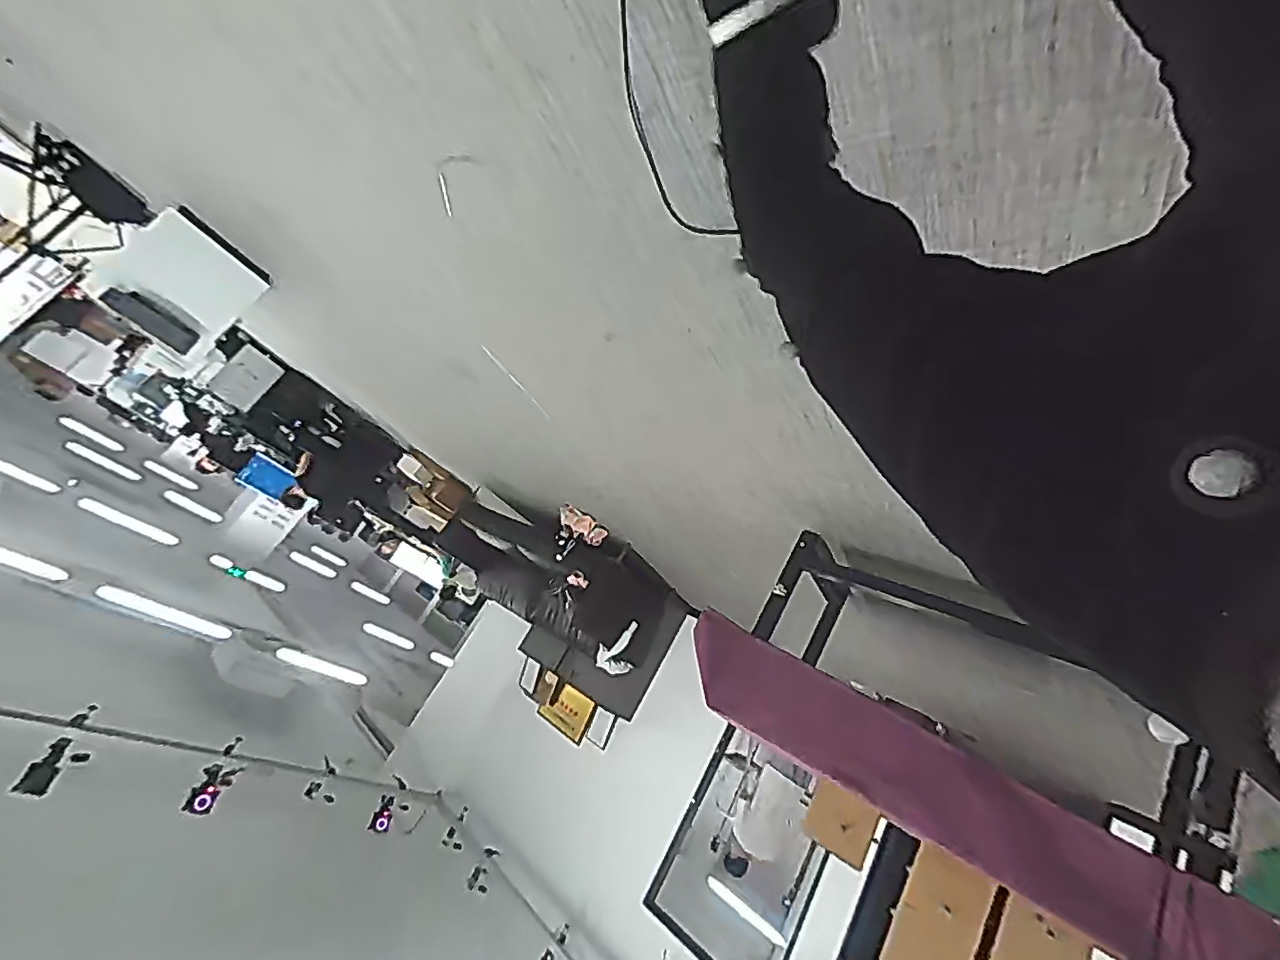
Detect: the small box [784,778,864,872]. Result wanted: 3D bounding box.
[{"bbox_3d":[0.549,1.013,1.595,0.179,0.176,0.168,19,157,33],"label":"small box"}]
